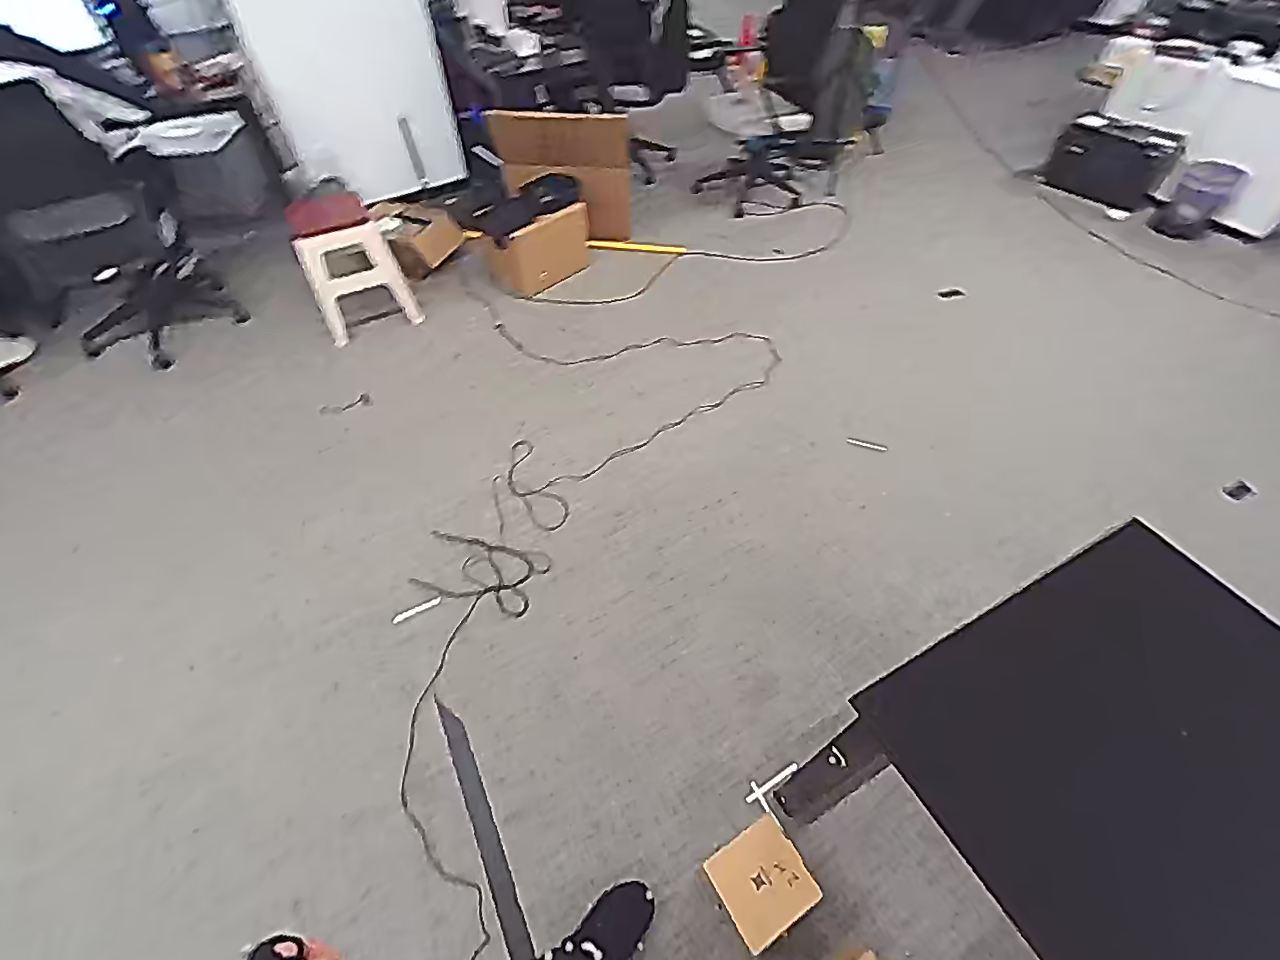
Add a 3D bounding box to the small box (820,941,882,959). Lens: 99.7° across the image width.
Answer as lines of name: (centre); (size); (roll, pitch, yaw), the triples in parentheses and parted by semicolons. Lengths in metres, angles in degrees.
small box: (0.391, 0.990, 0.991); (0.179, 0.176, 0.168); (-25, 55, -16)
